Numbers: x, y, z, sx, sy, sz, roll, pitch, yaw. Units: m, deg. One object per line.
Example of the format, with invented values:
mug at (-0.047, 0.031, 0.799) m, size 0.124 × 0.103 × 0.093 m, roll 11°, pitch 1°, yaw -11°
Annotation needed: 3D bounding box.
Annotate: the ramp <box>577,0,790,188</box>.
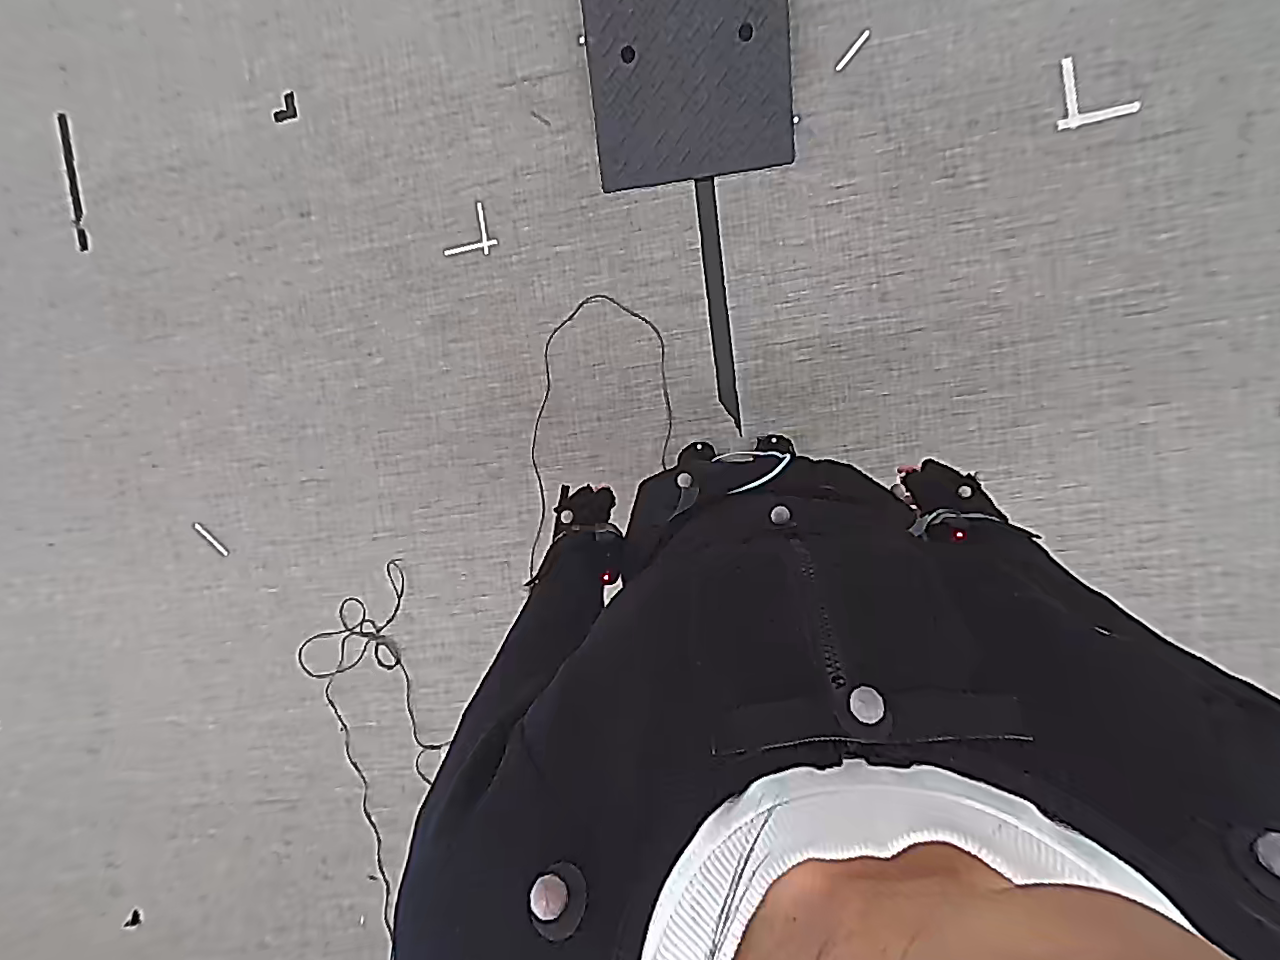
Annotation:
ramp at (0.081, -1.261, 1.255) m, size 0.509 × 0.206 × 0.991 m, roll -7°, pitch 95°, yaw 7°
